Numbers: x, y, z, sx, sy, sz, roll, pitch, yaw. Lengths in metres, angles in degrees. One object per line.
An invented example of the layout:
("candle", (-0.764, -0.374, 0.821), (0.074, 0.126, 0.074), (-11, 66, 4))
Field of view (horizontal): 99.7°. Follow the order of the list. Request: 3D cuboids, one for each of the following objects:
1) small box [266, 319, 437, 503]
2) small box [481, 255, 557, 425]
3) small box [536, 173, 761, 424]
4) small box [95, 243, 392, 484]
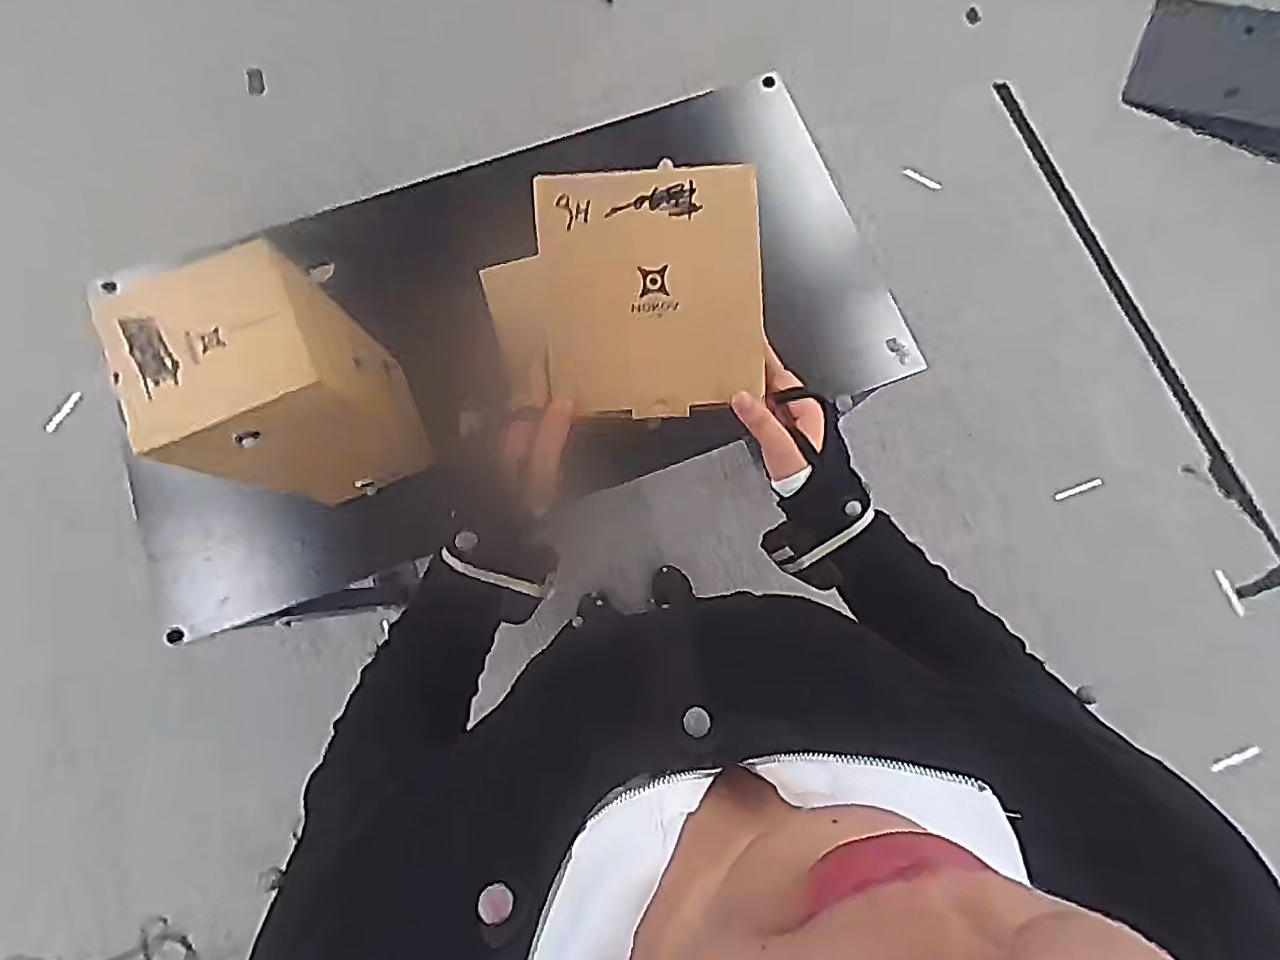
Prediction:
("small box", (-0.411, -0.084, 0.749), (0.168, 0.176, 0.179), (-25, 82, -5))
("small box", (-0.110, -0.200, 0.775), (0.168, 0.176, 0.179), (-17, 80, -4))
("small box", (0.007, -0.148, 0.485), (0.168, 0.176, 0.179), (-4, 100, -2))
("small box", (-0.409, -0.110, 0.586), (0.179, 0.176, 0.168), (-25, 81, -6))
